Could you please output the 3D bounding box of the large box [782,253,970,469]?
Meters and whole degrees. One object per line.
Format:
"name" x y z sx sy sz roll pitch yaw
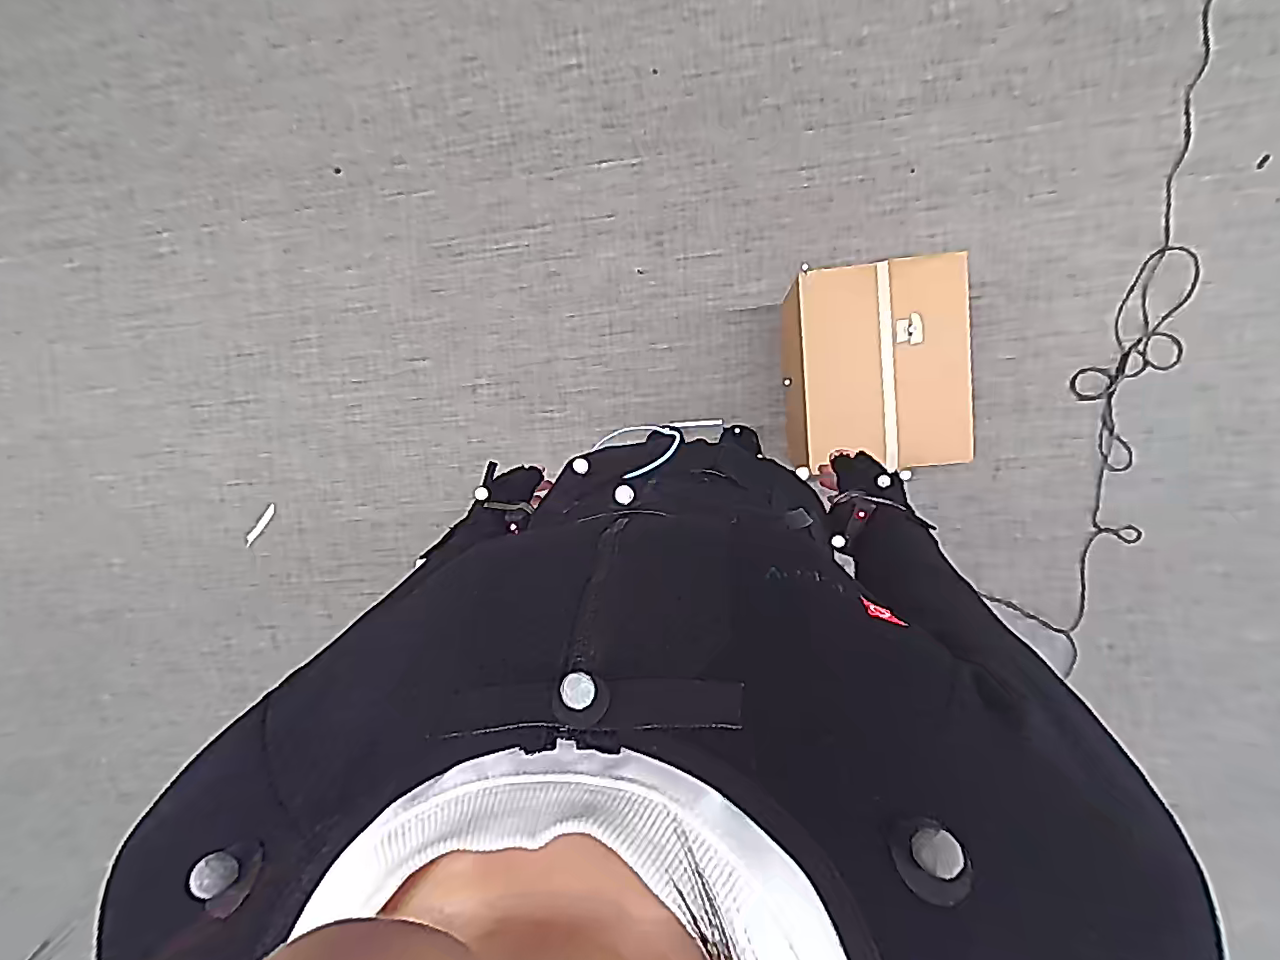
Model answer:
"large box" 0.506 -0.244 1.226 0.320 0.320 0.408 -4 94 7
